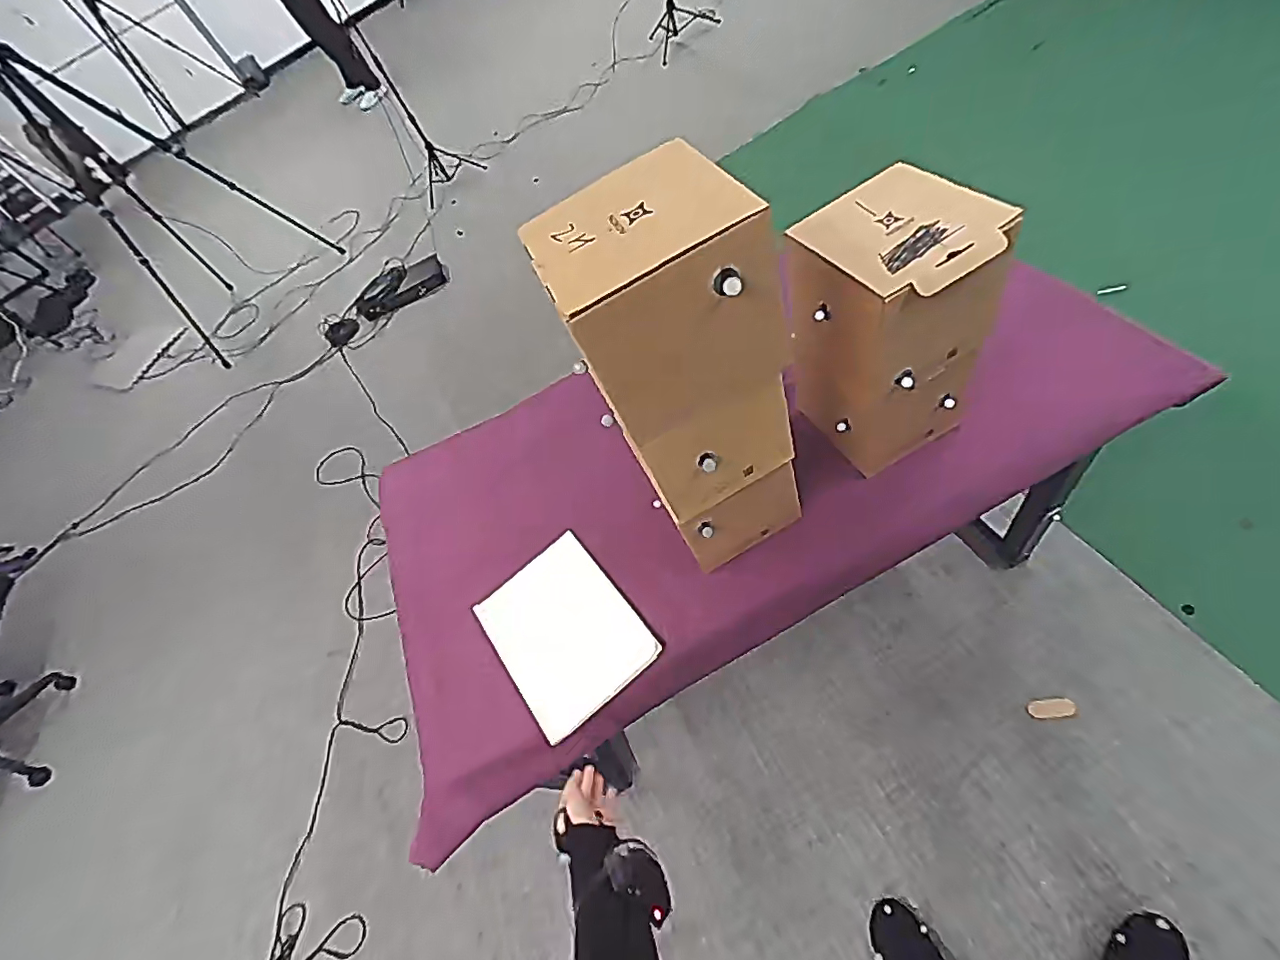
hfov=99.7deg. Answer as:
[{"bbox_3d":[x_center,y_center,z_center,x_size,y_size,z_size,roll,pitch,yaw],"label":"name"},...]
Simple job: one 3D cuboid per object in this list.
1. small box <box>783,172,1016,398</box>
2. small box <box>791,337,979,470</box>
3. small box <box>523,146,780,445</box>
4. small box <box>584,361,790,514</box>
[{"bbox_3d":[0.298,-0.224,0.651,0.168,0.176,0.179,-31,51,-1],"label":"small box"},{"bbox_3d":[0.343,-0.137,0.782,0.168,0.176,0.179,-30,51,0],"label":"small box"},{"bbox_3d":[0.019,-0.168,0.515,0.179,0.176,0.168,-29,51,2],"label":"small box"},{"bbox_3d":[0.062,-0.081,0.649,0.168,0.176,0.179,-30,51,1],"label":"small box"}]
